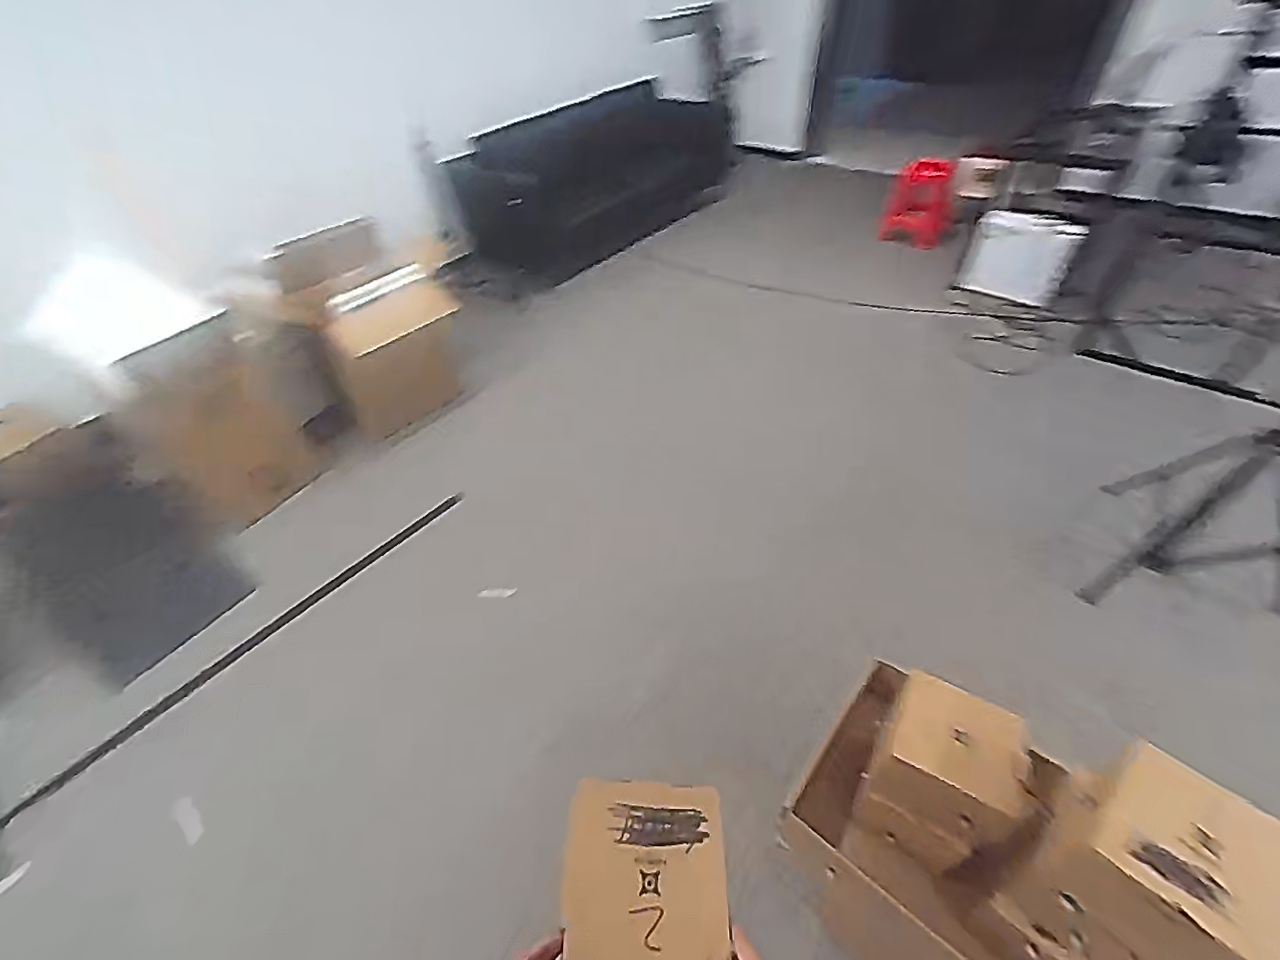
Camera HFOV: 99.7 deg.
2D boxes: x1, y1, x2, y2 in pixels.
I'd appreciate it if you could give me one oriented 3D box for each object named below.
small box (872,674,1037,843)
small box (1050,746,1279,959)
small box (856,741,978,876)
[{"bbox_3d":[0.512,0.465,0.896,0.179,0.176,0.168,23,50,24],"label":"small box"},{"bbox_3d":[0.631,0.470,0.643,0.179,0.176,0.168,-33,48,-26],"label":"small box"},{"bbox_3d":[0.521,0.586,1.006,0.168,0.176,0.179,23,51,25],"label":"small box"}]
